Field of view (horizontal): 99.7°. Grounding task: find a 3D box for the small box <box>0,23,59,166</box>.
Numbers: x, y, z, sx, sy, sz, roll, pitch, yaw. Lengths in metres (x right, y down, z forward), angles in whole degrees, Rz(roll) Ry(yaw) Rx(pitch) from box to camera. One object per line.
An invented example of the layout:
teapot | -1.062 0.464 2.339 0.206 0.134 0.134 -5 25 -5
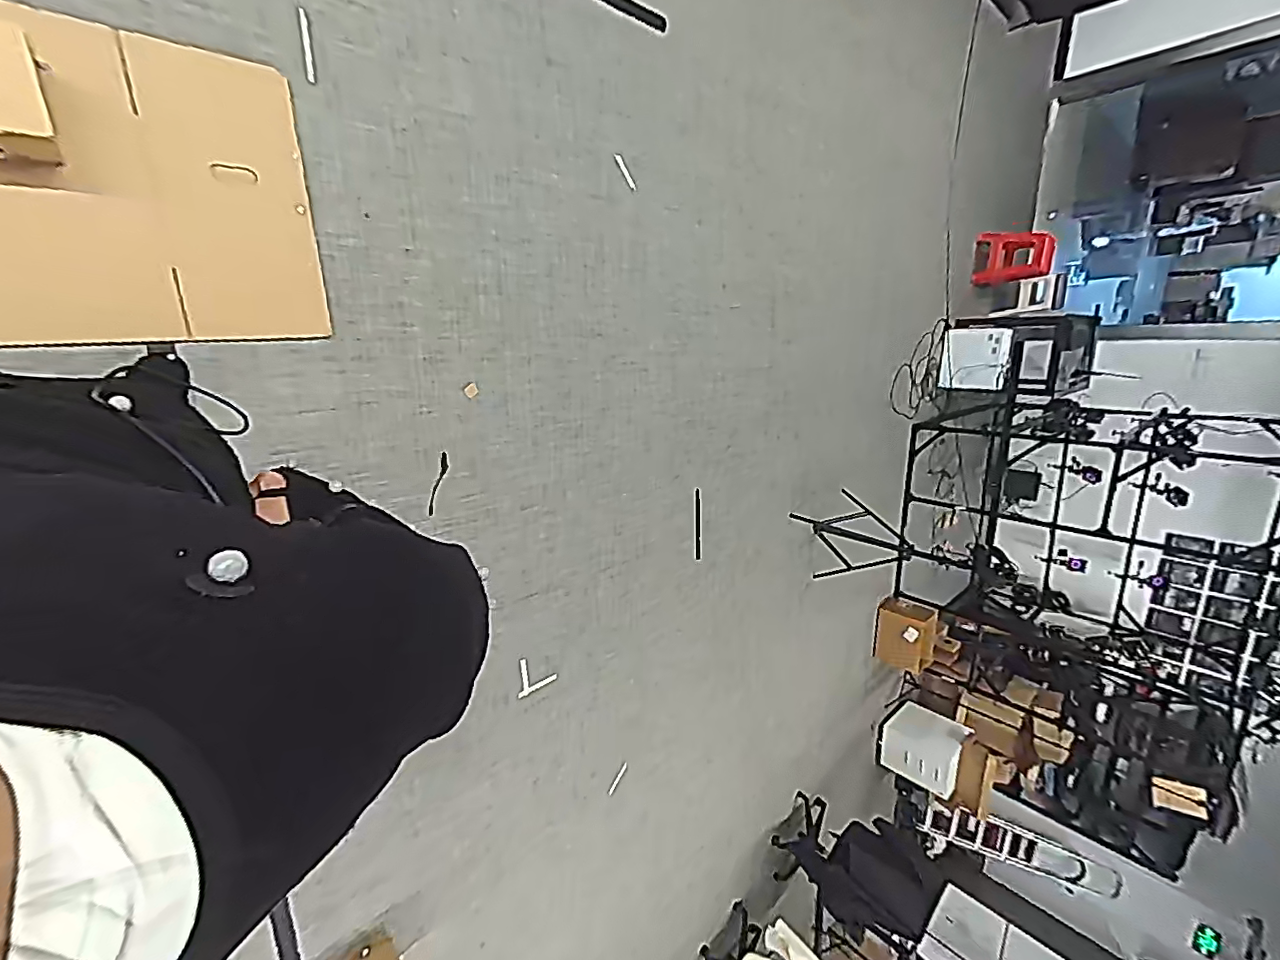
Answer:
small box | -1.149 -0.670 0.929 0.168 0.176 0.179 -15 110 -39
